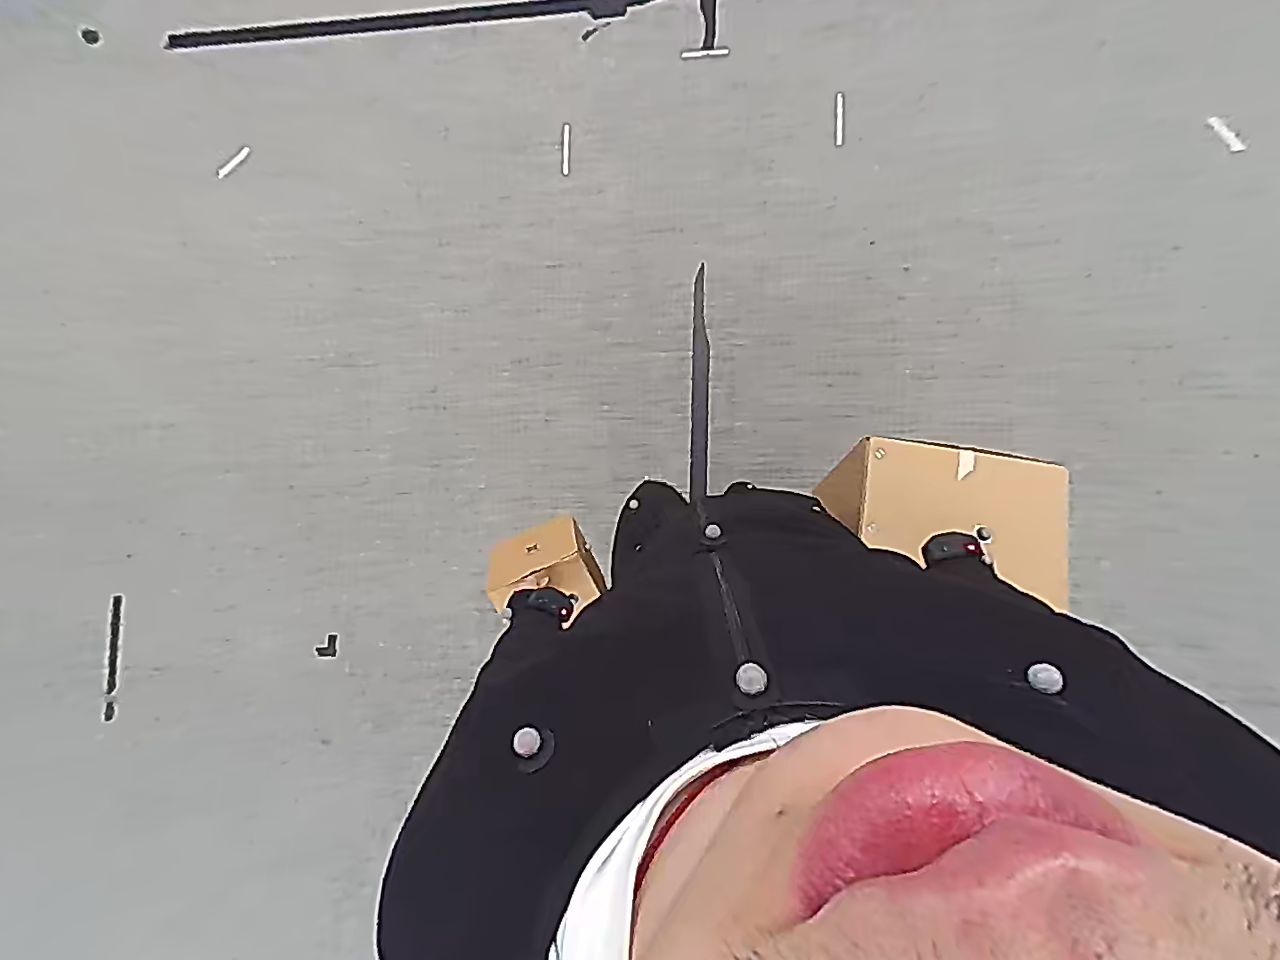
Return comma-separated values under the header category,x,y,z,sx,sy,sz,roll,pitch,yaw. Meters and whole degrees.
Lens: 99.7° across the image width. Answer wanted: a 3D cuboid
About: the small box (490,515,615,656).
category,x,y,z,sx,sy,sz,roll,pitch,yaw
small box,-0.157,0.197,0.995,0.168,0.179,0.176,-24,112,-1
